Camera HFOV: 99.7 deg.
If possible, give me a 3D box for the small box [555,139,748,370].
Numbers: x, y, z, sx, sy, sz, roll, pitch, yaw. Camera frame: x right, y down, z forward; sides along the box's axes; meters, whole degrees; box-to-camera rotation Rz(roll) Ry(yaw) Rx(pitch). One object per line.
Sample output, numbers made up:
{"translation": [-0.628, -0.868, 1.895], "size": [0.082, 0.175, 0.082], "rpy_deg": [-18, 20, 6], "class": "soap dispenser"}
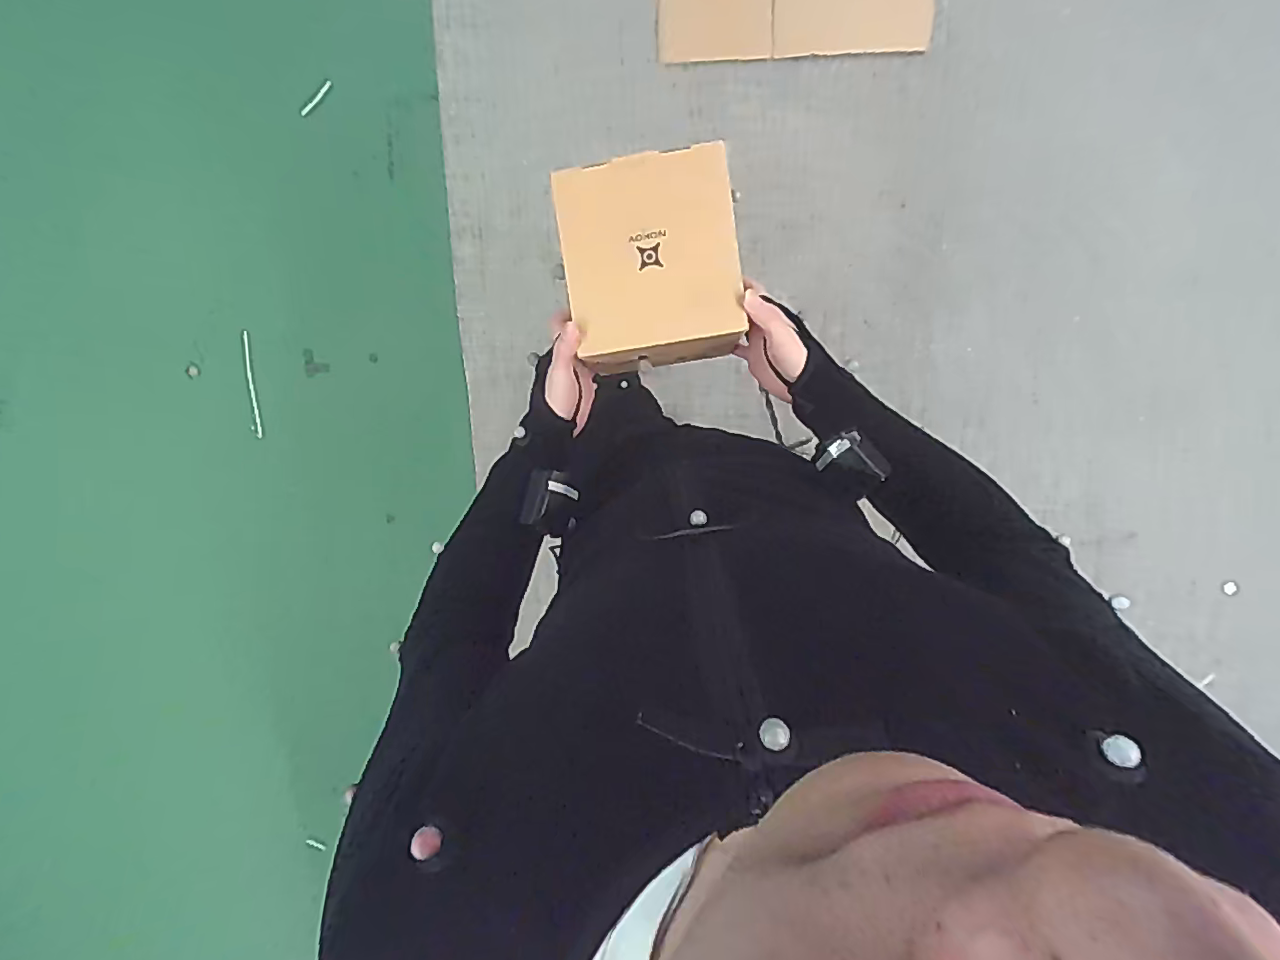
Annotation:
{"translation": [0.018, -0.219, 0.579], "size": [0.168, 0.176, 0.179], "rpy_deg": [-7, 93, 5], "class": "small box"}
